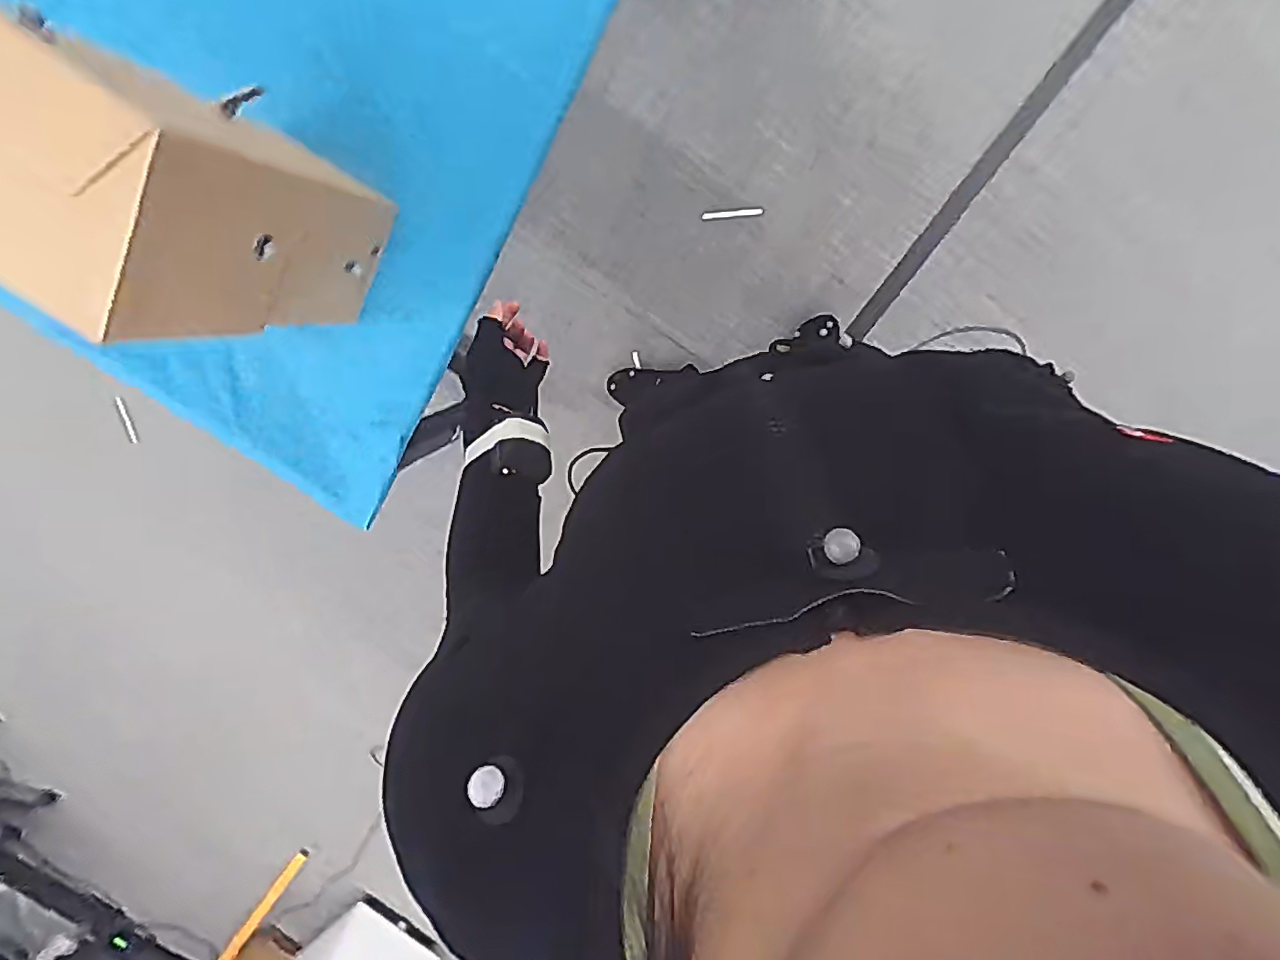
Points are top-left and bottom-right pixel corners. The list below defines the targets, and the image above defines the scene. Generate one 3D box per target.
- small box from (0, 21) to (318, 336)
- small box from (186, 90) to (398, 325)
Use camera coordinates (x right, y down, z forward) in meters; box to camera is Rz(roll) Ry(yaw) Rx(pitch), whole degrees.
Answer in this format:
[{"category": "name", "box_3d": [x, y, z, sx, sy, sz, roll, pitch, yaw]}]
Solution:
[{"category": "small box", "box_3d": [-0.432, -0.242, 0.467, 0.168, 0.176, 0.179, 34, 108, -4]}, {"category": "small box", "box_3d": [-0.424, -0.296, 0.625, 0.179, 0.176, 0.168, 34, 109, -6]}]
